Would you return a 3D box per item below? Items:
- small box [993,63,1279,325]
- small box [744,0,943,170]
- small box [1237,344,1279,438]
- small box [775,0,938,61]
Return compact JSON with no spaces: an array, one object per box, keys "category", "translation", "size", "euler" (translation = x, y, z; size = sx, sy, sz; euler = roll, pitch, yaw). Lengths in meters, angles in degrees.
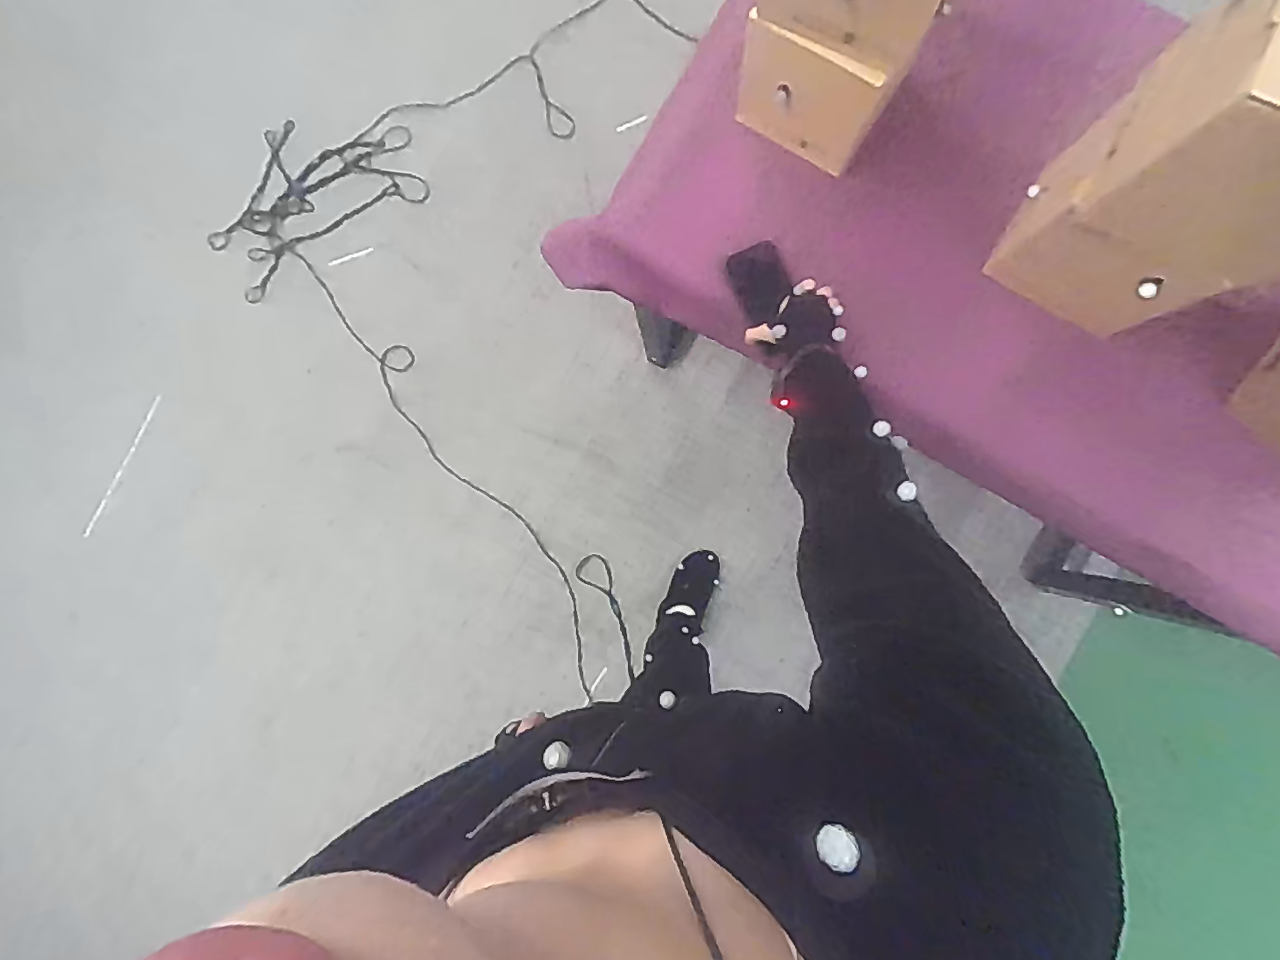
[{"category":"small box","translation":[0.555,-0.296,0.606],"size":[0.179,0.176,0.168],"euler":[32,90,6]},{"category":"small box","translation":[0.238,-0.521,0.647],"size":[0.168,0.176,0.179],"euler":[33,90,6]},{"category":"small box","translation":[0.834,-0.104,0.573],"size":[0.179,0.176,0.168],"euler":[39,90,6]},{"category":"small box","translation":[0.228,-0.536,0.484],"size":[0.168,0.176,0.179],"euler":[28,90,5]}]
